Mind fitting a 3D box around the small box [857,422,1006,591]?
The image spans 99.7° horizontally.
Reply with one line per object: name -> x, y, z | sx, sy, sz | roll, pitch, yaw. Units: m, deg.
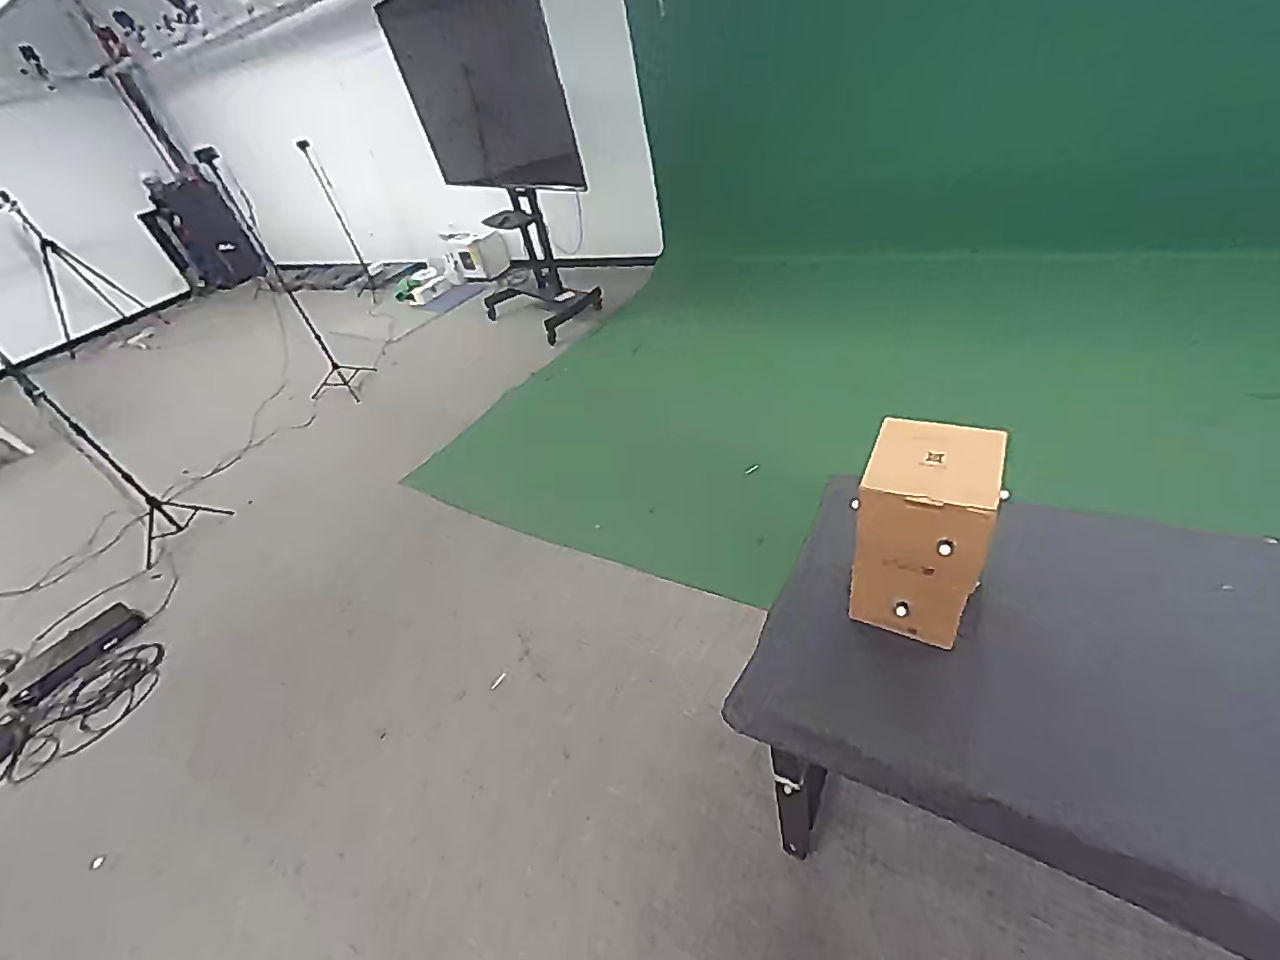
small box -> 0.432, 0.038, 0.814 | 0.168, 0.176, 0.179 | 13, 45, 28

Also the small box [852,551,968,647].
small box -> 0.469, 0.152, 0.925 | 0.168, 0.176, 0.179 | 14, 47, 30
